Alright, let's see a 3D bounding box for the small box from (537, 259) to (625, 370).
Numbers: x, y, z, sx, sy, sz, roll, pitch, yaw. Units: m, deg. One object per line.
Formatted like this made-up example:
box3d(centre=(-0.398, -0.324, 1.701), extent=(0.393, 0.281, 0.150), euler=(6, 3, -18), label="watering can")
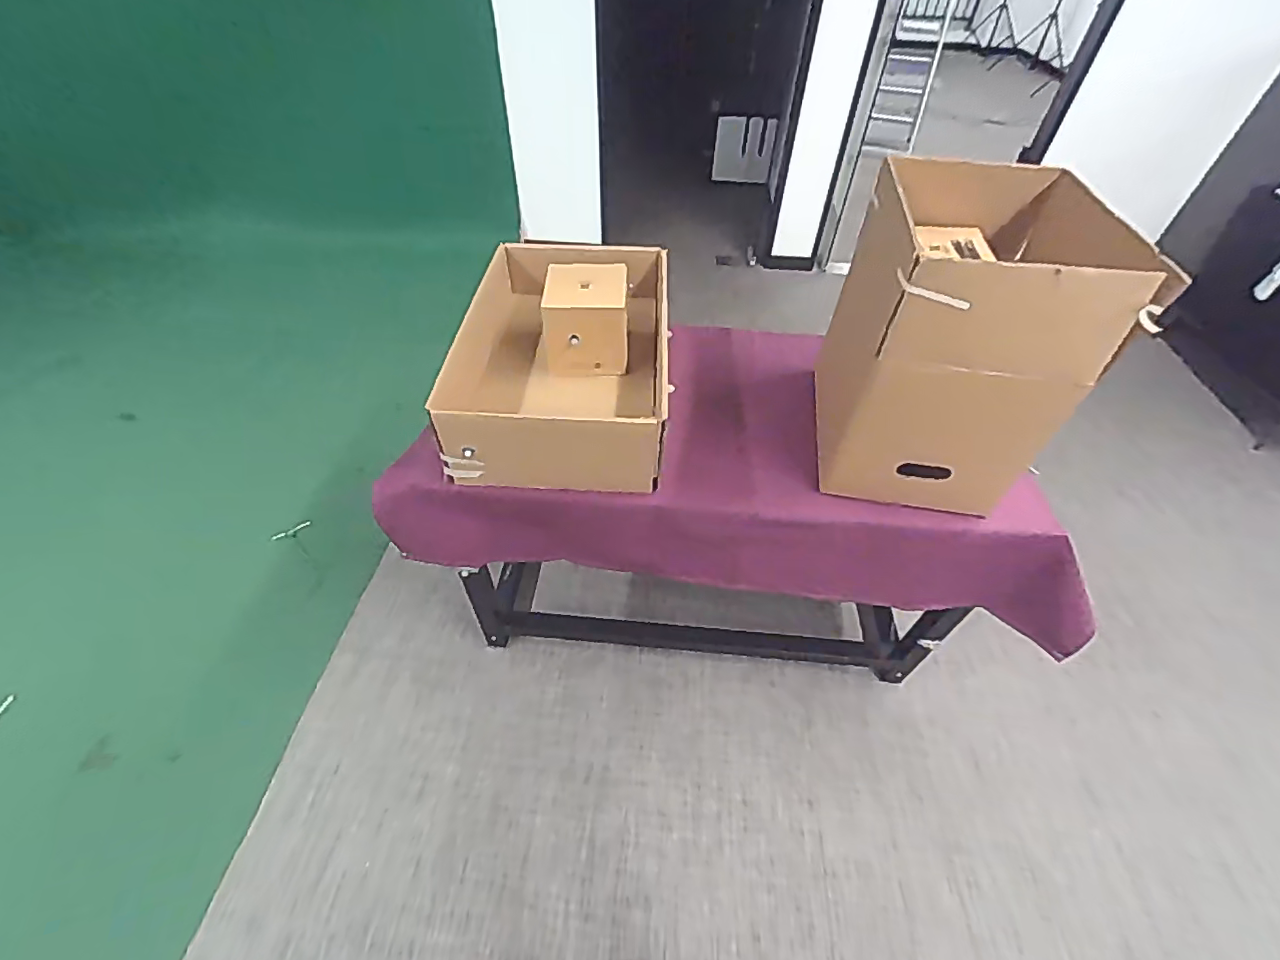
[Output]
box3d(centre=(-0.117, -0.351, 1.156), extent=(0.168, 0.176, 0.179), euler=(-1, 49, 0), label="small box")
